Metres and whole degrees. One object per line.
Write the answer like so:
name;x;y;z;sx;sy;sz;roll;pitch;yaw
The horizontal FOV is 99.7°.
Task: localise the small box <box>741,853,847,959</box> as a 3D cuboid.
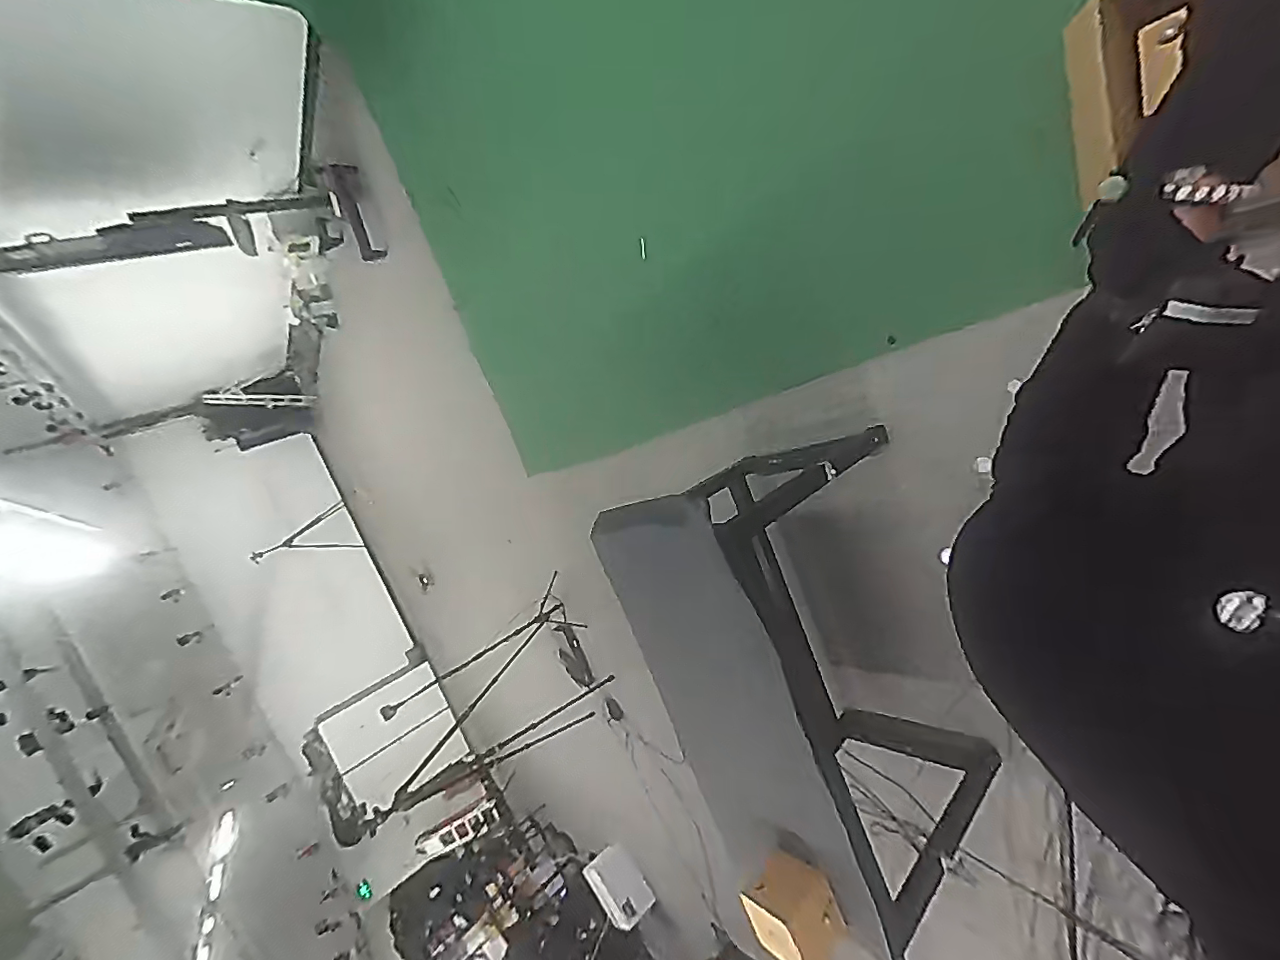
small box;0.406;1.136;1.425;0.179;0.176;0.168;-17;97;57
